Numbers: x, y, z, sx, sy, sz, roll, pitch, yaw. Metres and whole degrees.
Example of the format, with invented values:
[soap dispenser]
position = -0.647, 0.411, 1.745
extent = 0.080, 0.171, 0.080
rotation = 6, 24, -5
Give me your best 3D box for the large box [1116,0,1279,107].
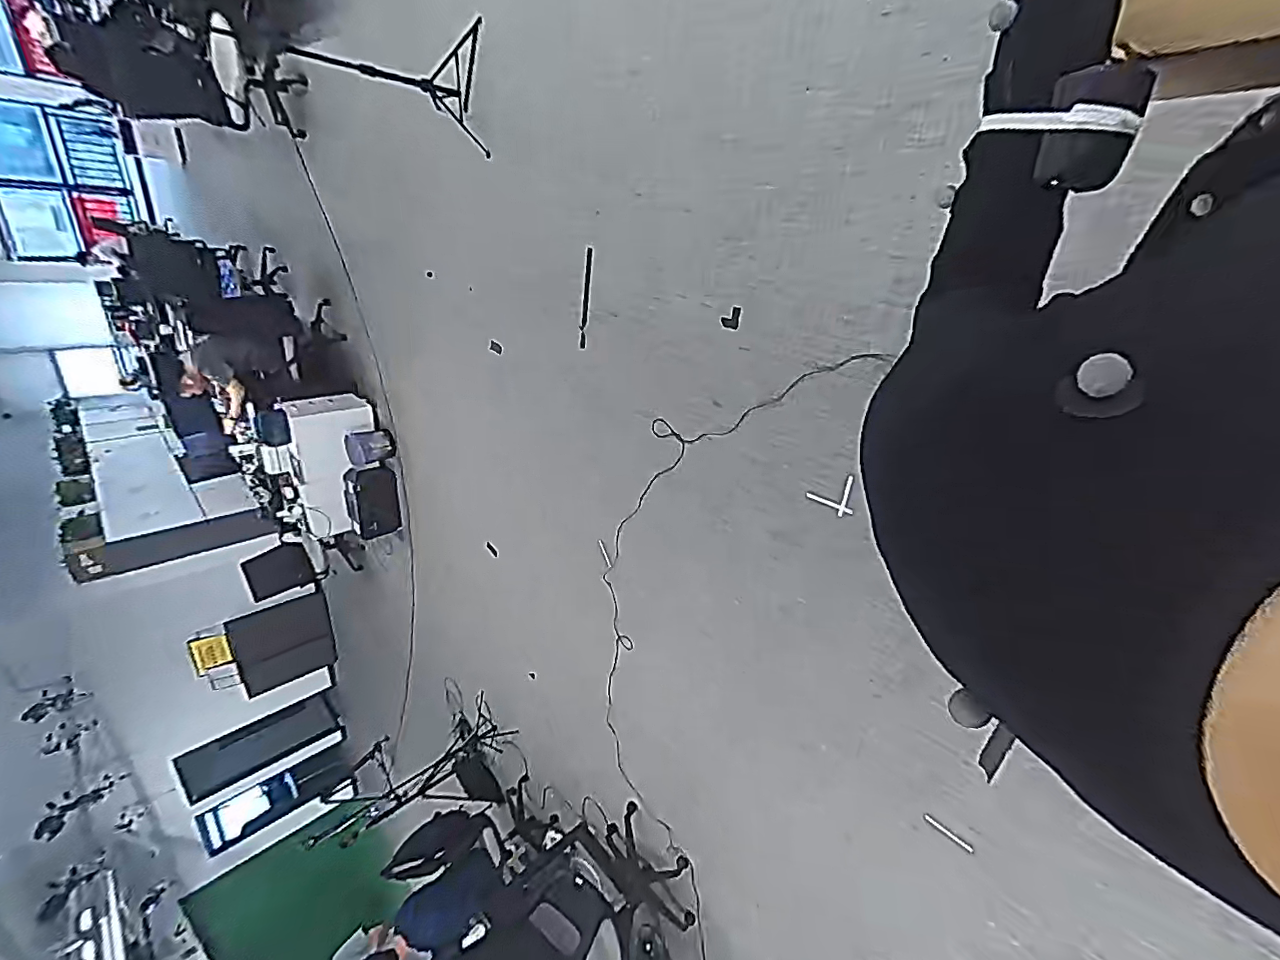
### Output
[large box]
position = 0.534, -0.411, 0.260
extent = 0.408, 0.320, 0.320
rotation = 17, 124, 37
